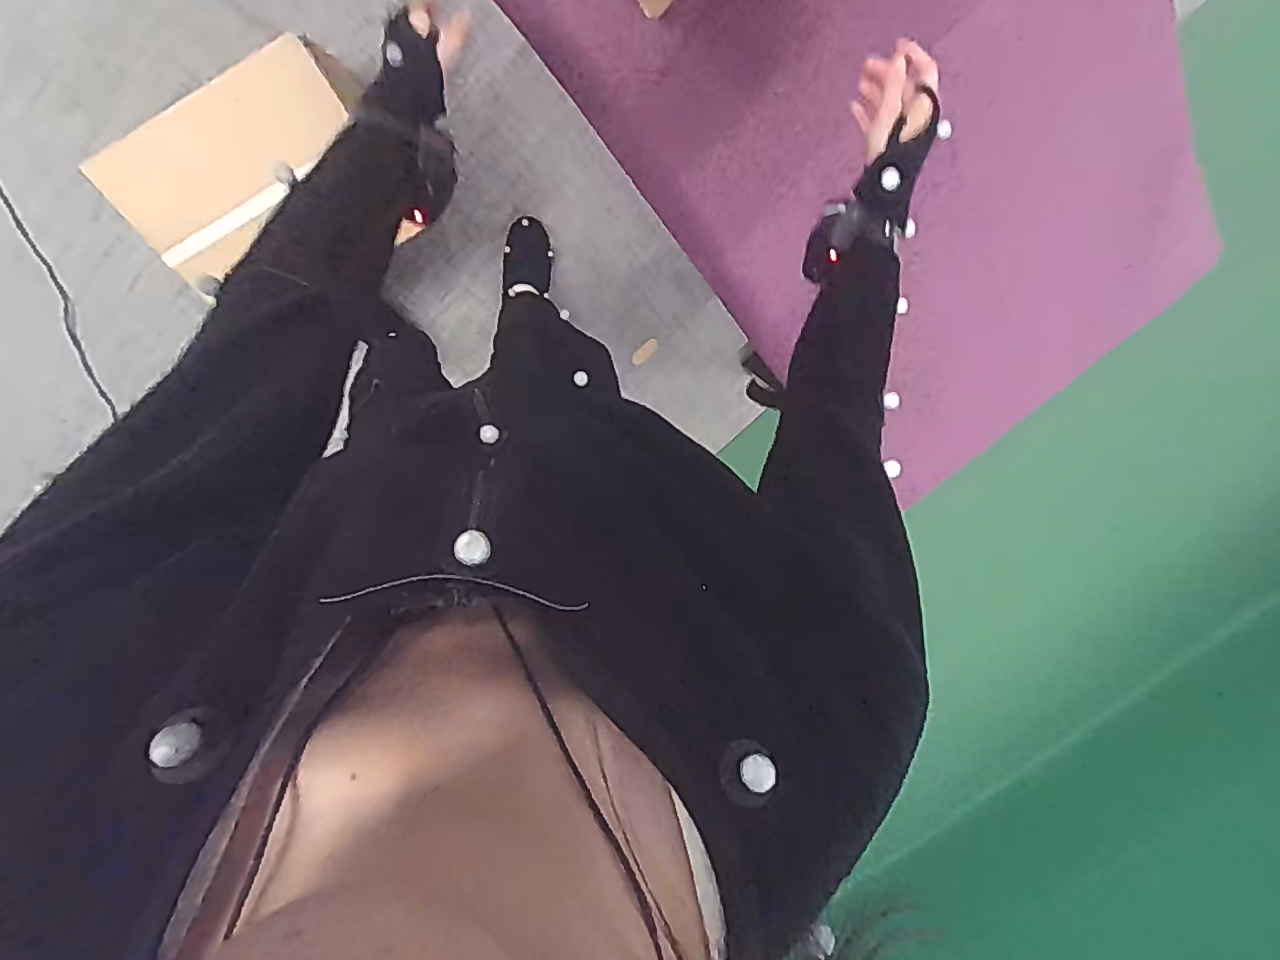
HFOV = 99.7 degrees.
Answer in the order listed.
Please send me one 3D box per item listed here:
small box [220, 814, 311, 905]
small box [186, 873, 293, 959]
[{"bbox_3d":[-1.072,1.105,1.563,0.168,0.176,0.179,2,118,-17],"label":"small box"},{"bbox_3d":[-1.039,1.178,1.421,0.168,0.176,0.179,0,119,-16],"label":"small box"}]
